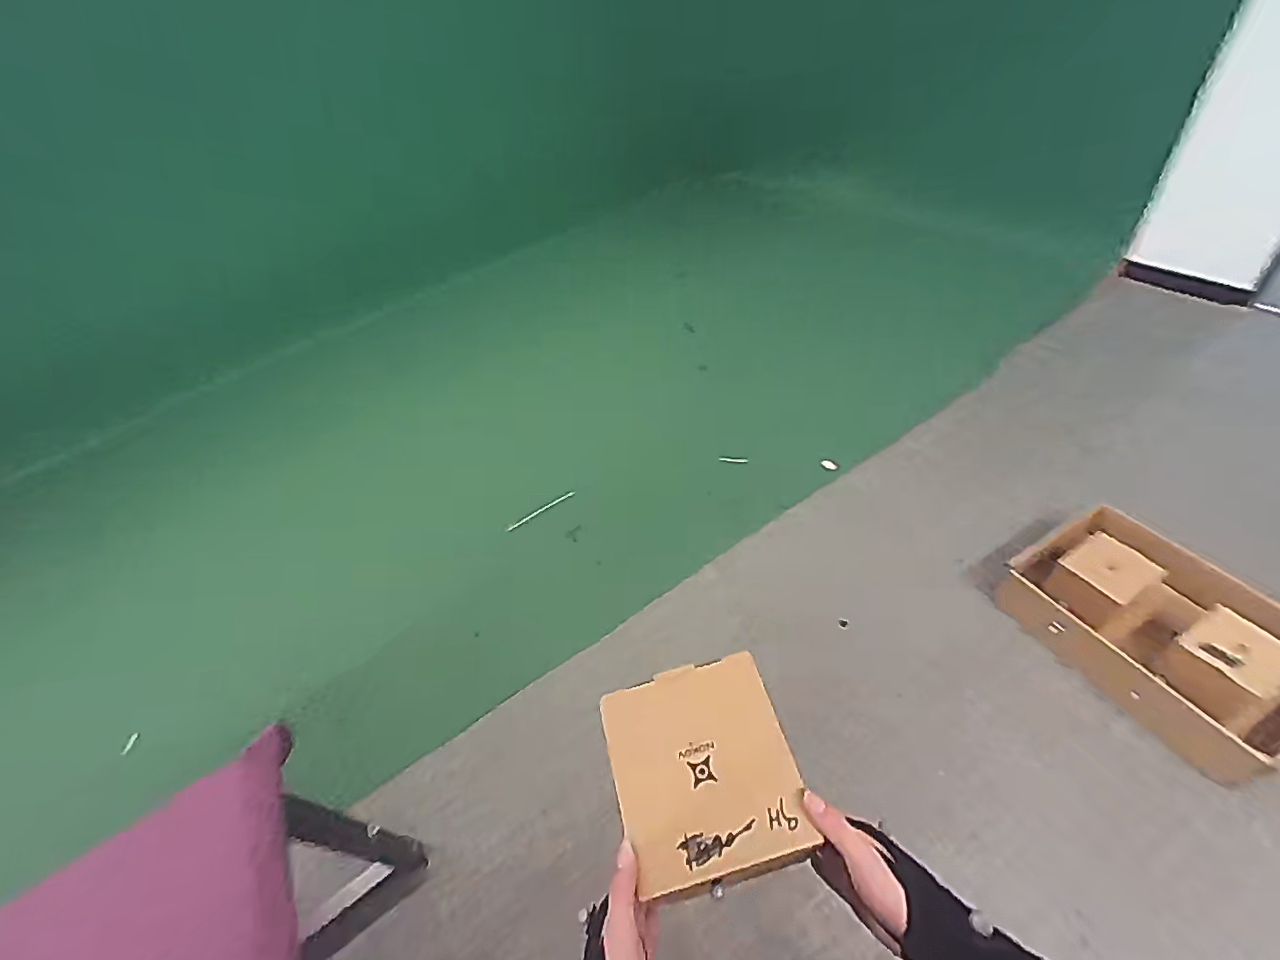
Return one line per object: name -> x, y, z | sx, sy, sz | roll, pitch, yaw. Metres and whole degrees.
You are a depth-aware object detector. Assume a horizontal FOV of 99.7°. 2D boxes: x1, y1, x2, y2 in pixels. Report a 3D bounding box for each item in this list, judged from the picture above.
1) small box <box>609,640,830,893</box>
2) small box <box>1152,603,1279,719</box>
small box -> 0.076, 0.299, 0.561 | 0.168, 0.176, 0.179 | -17, 49, 0
small box -> 1.390, 0.435, 1.292 | 0.179, 0.176, 0.168 | -28, 47, -13
